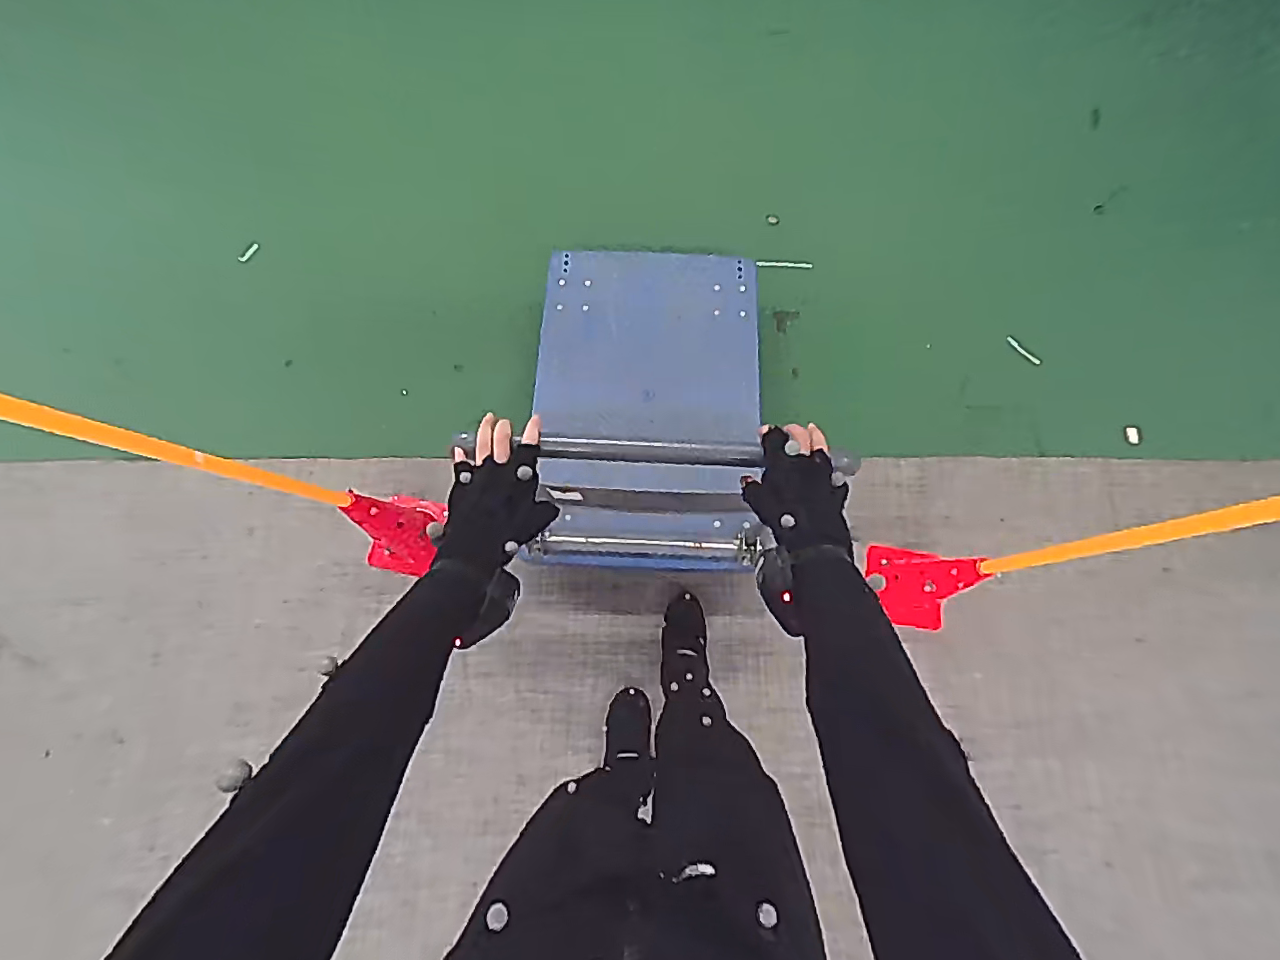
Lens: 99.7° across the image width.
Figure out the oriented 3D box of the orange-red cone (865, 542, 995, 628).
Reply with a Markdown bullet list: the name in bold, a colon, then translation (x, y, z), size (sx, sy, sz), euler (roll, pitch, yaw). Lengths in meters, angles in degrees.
- **orange-red cone**: translation (0.684, 0.219, 1.231), size (0.198, 0.360, 0.199), euler (10, 74, 4)
